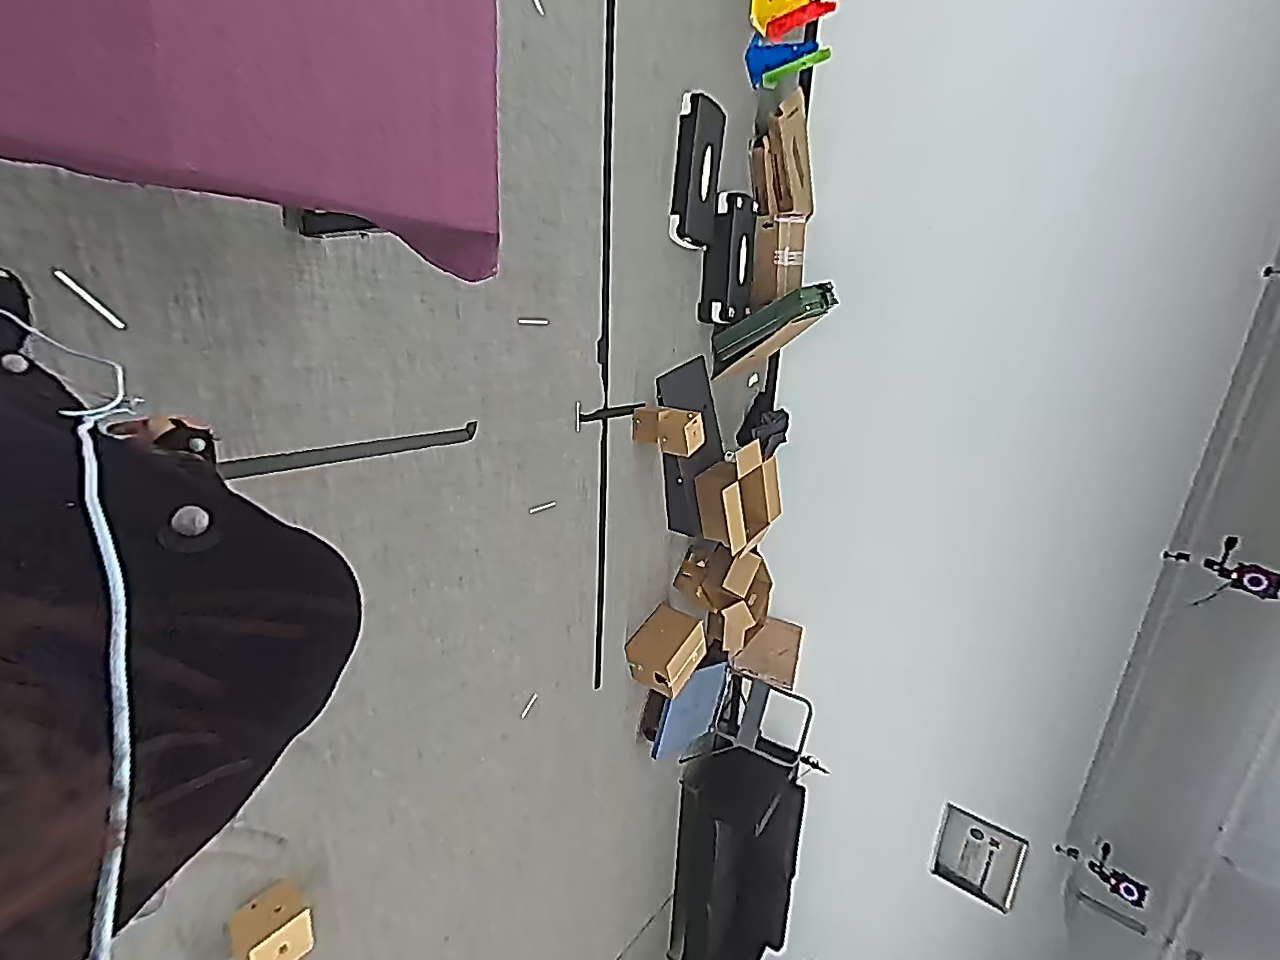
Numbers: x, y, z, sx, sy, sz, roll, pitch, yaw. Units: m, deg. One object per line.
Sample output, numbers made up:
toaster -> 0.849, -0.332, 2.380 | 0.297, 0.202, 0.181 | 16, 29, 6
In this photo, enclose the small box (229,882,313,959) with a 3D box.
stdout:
small box -> -1.171, 1.429, 1.715 | 0.168, 0.176, 0.179 | -18, 117, -53
